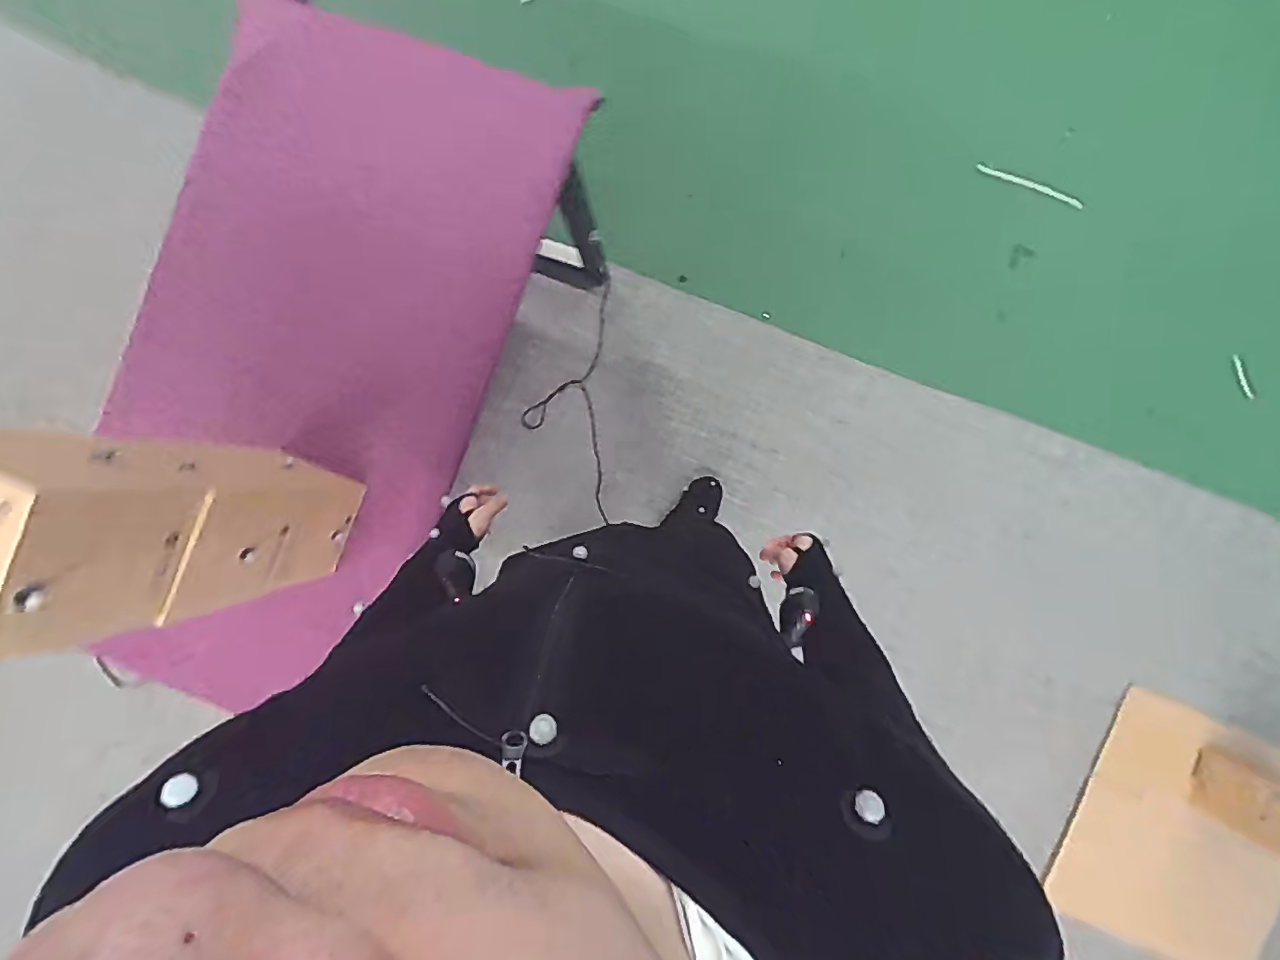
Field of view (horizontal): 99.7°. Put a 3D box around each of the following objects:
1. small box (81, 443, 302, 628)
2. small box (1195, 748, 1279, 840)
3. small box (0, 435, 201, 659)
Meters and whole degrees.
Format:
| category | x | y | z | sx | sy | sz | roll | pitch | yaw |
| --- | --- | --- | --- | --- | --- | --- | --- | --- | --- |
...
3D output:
| category | x | y | z | sx | sy | sz | roll | pitch | yaw |
| --- | --- | --- | --- | --- | --- | --- | --- | --- | --- |
| small box | -0.584 | 0.062 | 0.694 | 0.179 | 0.176 | 0.168 | 22 | 91 | 3 |
| small box | 1.666 | 0.849 | 1.442 | 0.179 | 0.176 | 0.168 | 15 | 90 | 4 |
| small box | -0.600 | 0.058 | 0.531 | 0.179 | 0.176 | 0.168 | 20 | 91 | 3 |
